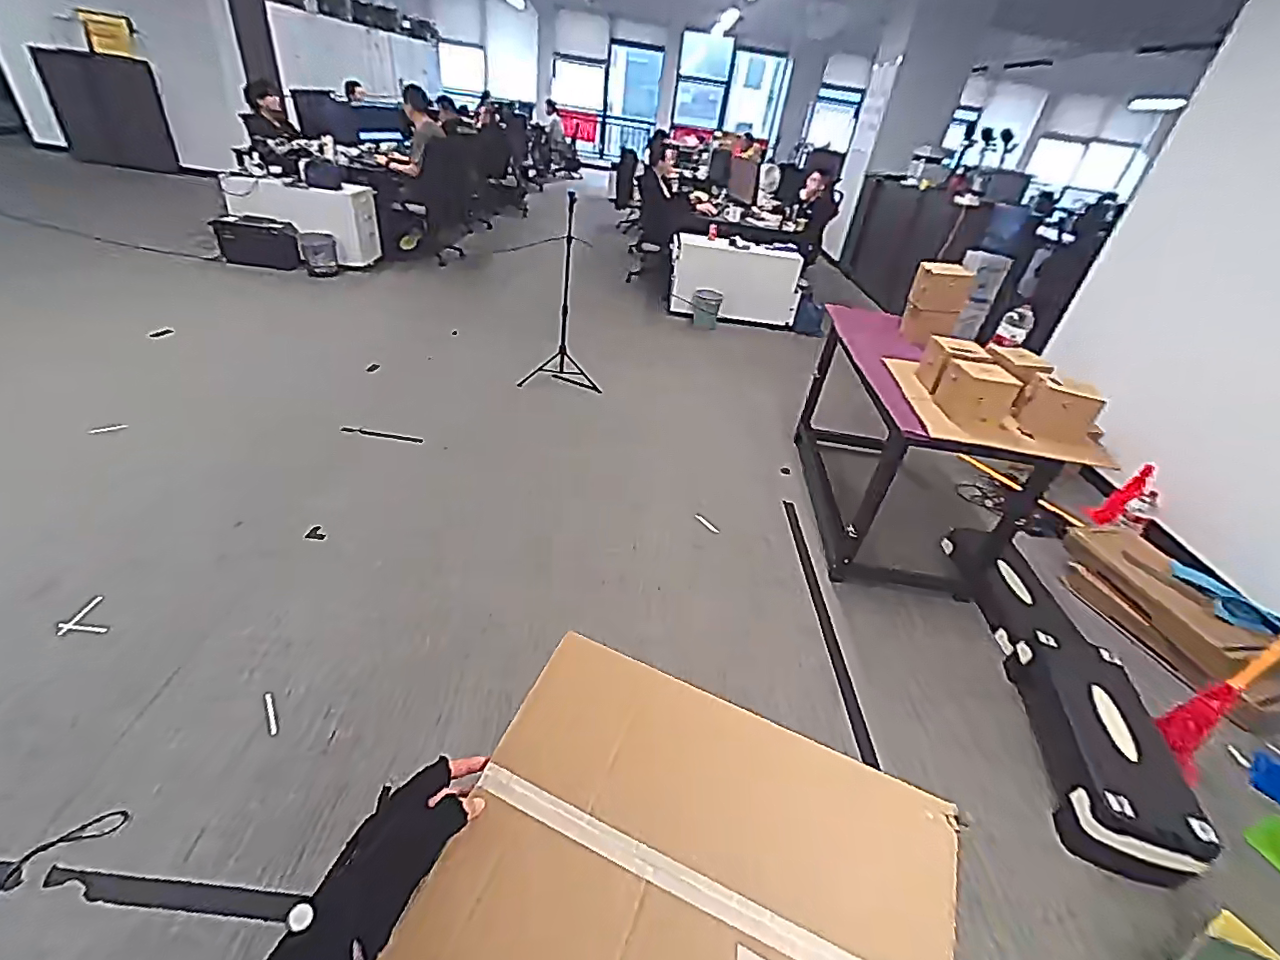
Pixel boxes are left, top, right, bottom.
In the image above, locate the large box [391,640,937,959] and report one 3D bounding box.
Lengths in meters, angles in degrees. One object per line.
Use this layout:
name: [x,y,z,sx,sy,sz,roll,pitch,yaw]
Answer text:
large box: [0.032,0.440,0.571,0.408,0.320,0.320,21,49,13]
